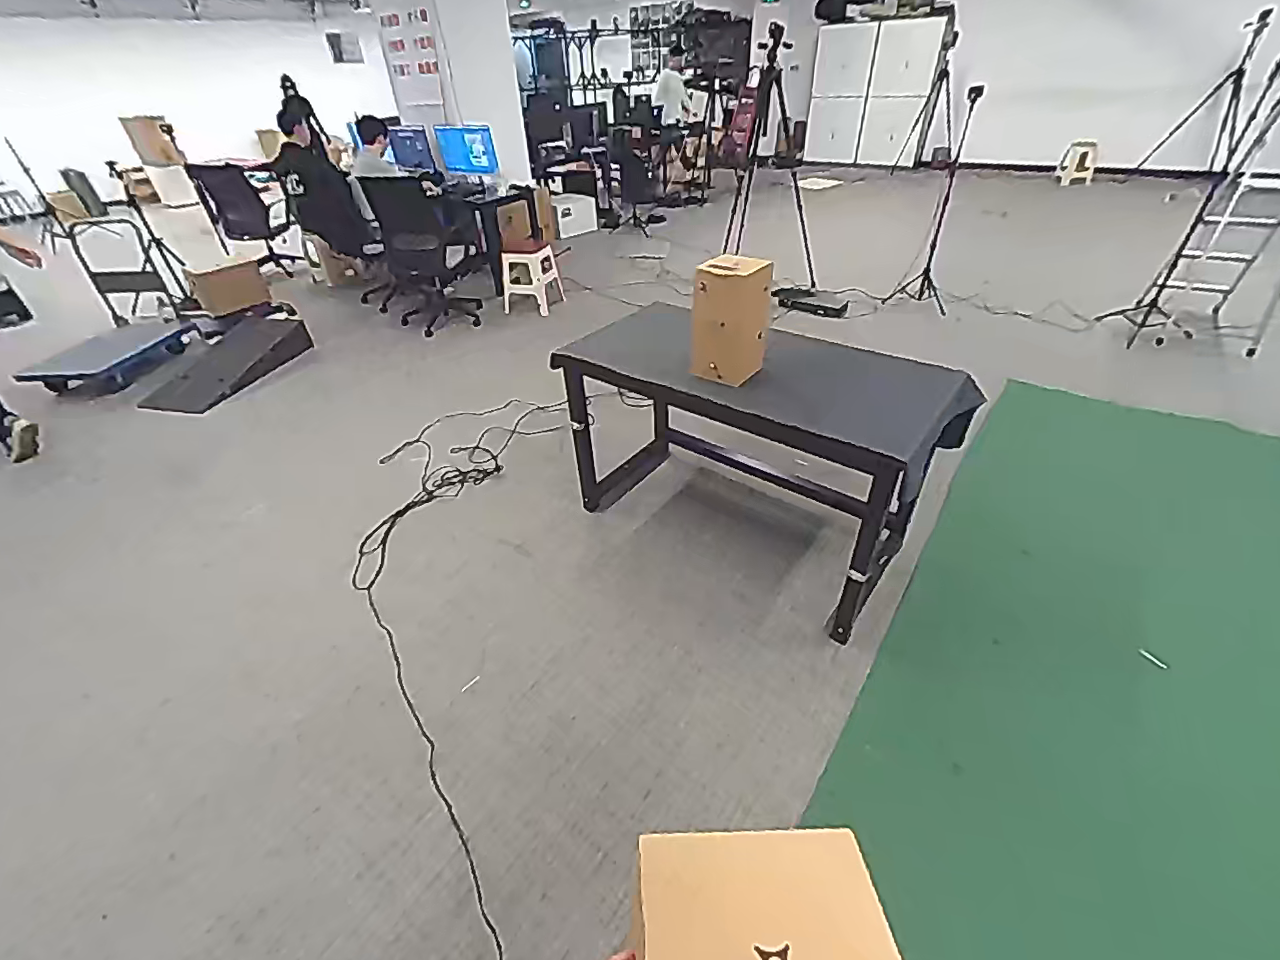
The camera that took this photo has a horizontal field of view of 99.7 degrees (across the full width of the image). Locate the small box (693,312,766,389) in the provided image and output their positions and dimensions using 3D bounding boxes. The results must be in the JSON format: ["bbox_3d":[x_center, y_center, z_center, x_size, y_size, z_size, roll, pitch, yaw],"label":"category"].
[{"bbox_3d":[0.276,-0.408,1.696,0.168,0.176,0.179,23,44,31],"label":"small box"}]

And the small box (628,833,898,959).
[{"bbox_3d":[0.079,0.381,0.371,0.168,0.176,0.179,2,28,-5],"label":"small box"}]
